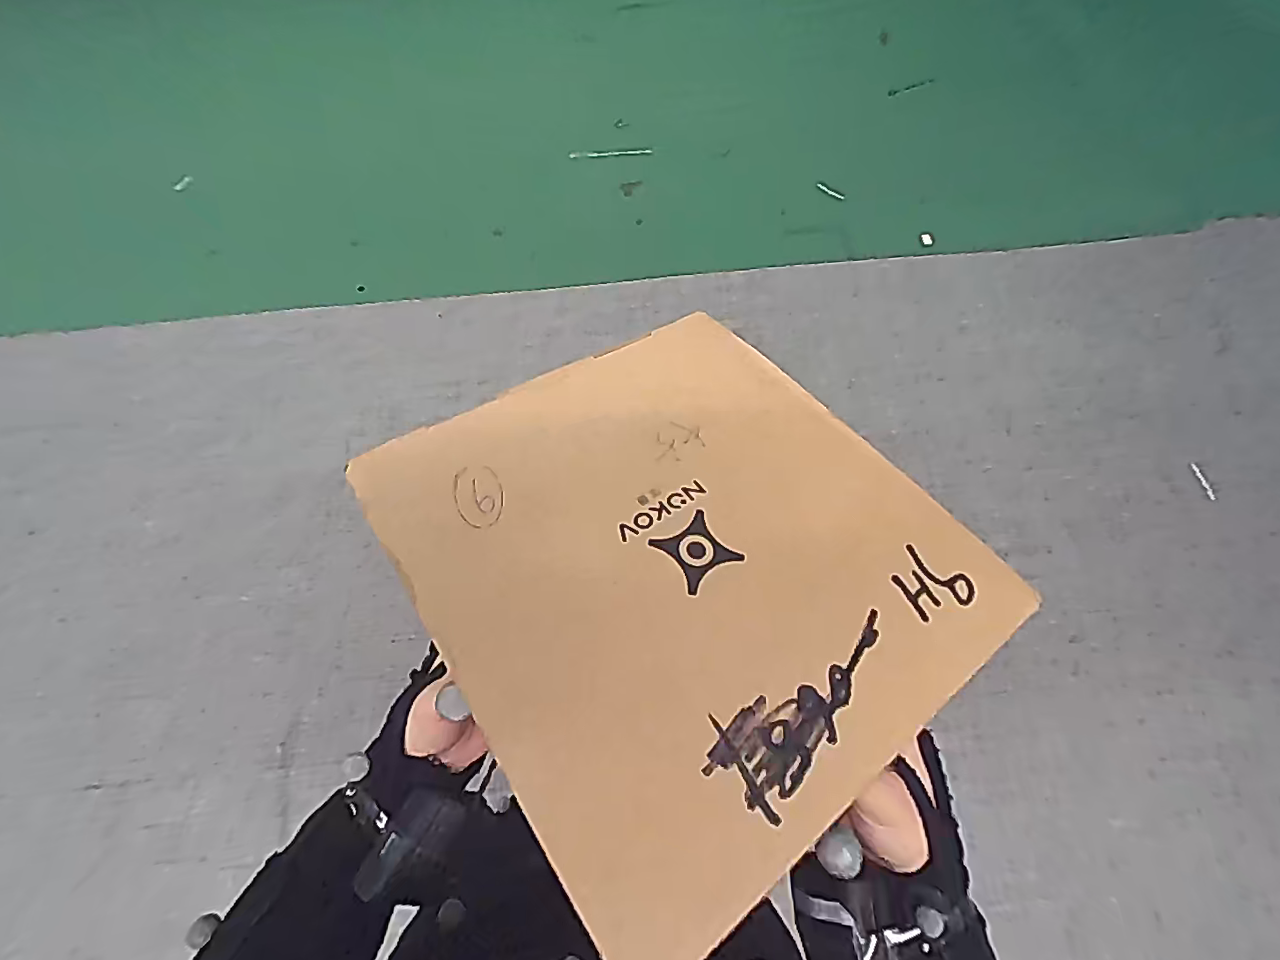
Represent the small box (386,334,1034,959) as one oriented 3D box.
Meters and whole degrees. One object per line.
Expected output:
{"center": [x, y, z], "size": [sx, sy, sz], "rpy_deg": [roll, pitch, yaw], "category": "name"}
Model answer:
{"center": [0.015, 0.070, 0.255], "size": [0.168, 0.176, 0.179], "rpy_deg": [-30, 62, -22], "category": "small box"}
